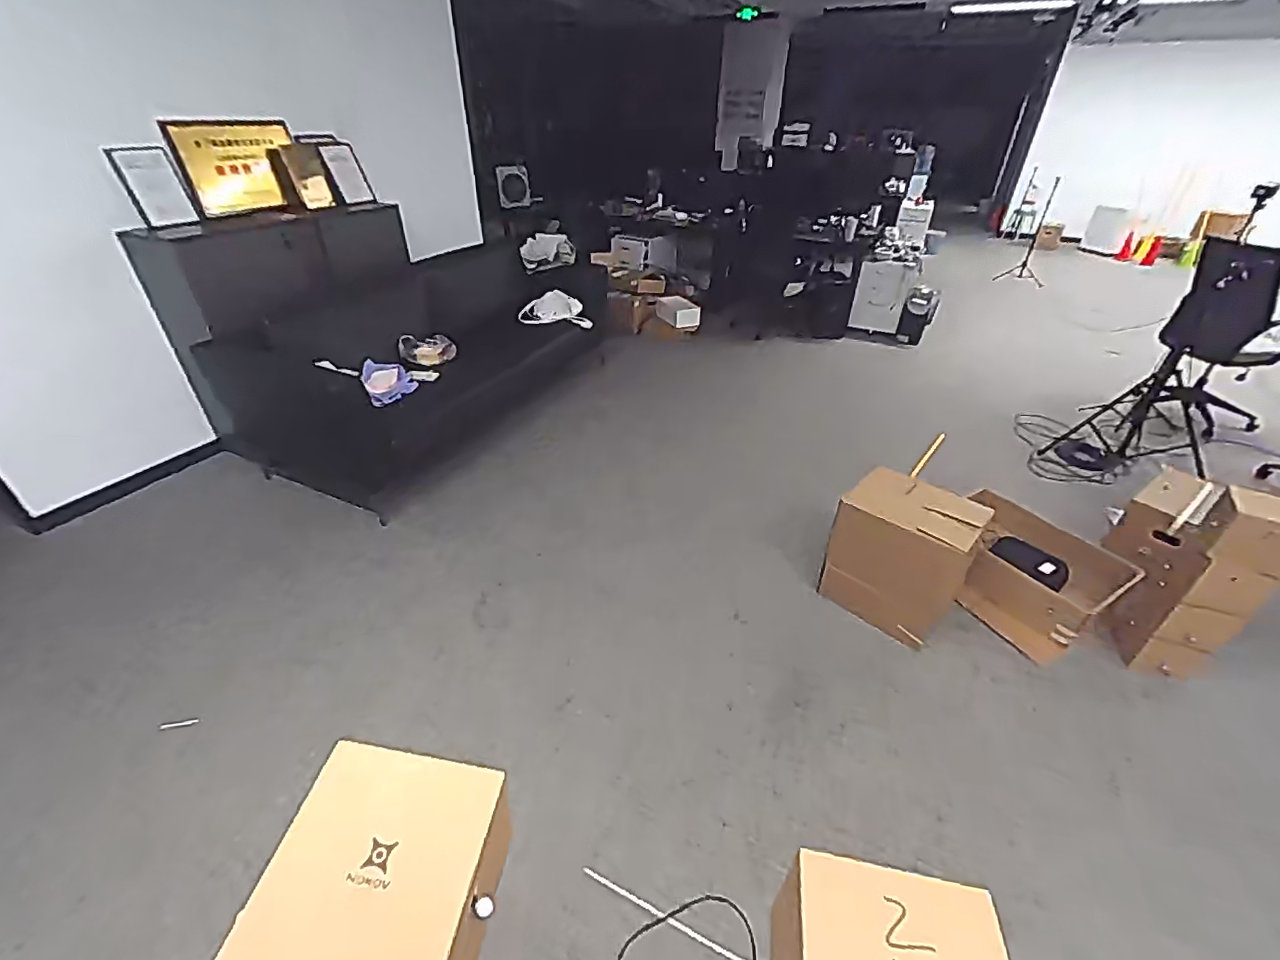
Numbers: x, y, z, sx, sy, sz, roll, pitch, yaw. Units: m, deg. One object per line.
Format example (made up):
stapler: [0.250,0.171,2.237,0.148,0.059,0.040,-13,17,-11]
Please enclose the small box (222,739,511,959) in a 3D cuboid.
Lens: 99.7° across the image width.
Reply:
small box: [-0.228,0.382,0.509,0.168,0.176,0.179,11,41,2]
